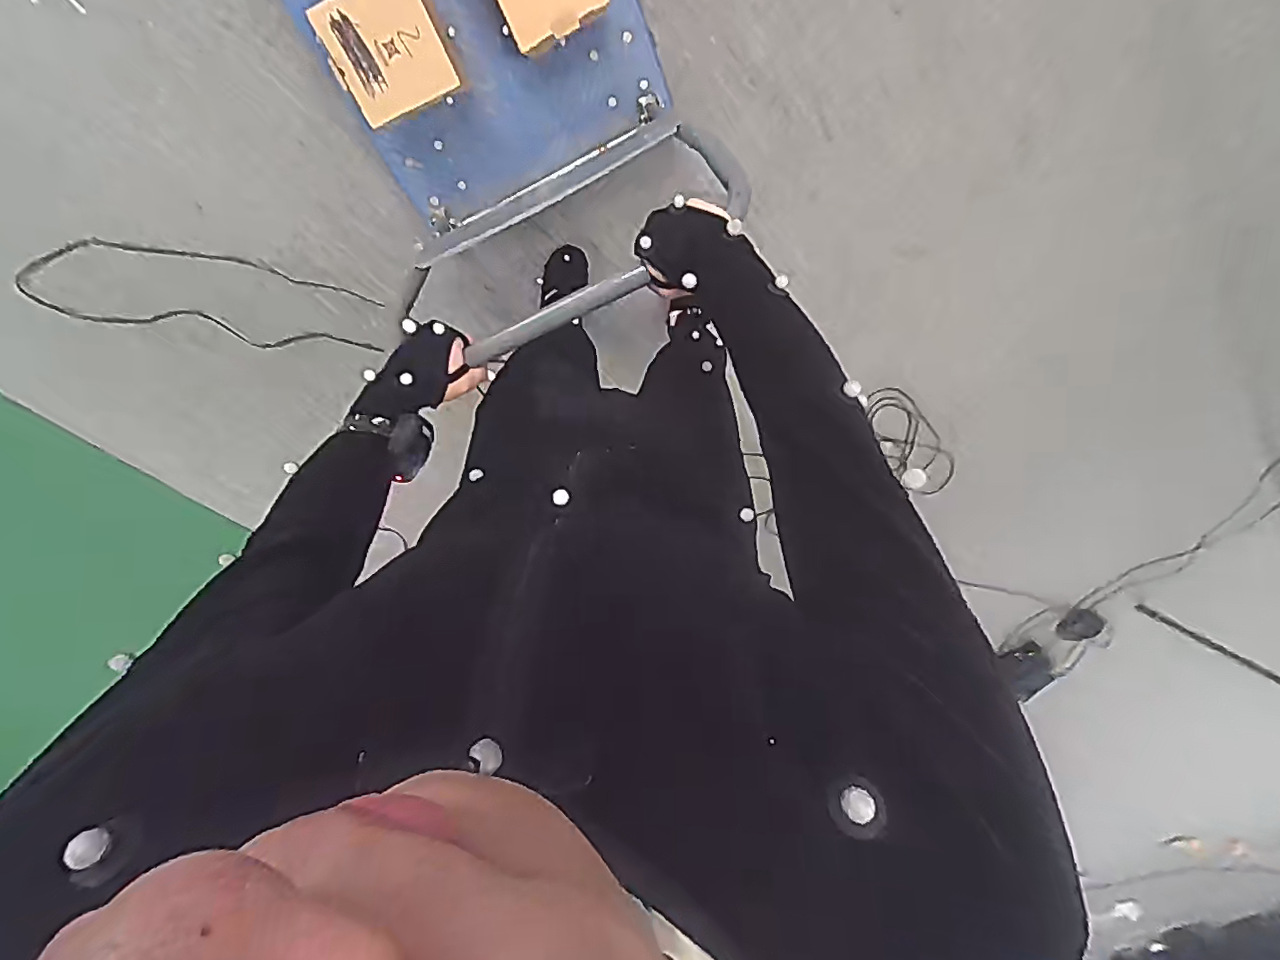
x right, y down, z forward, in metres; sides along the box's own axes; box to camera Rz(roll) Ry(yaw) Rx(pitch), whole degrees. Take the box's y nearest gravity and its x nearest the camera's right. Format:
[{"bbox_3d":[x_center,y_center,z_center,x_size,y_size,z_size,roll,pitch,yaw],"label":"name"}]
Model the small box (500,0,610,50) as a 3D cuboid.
[{"bbox_3d":[-0.162,-0.841,0.883,0.168,0.176,0.179,-24,127,9],"label":"small box"}]
